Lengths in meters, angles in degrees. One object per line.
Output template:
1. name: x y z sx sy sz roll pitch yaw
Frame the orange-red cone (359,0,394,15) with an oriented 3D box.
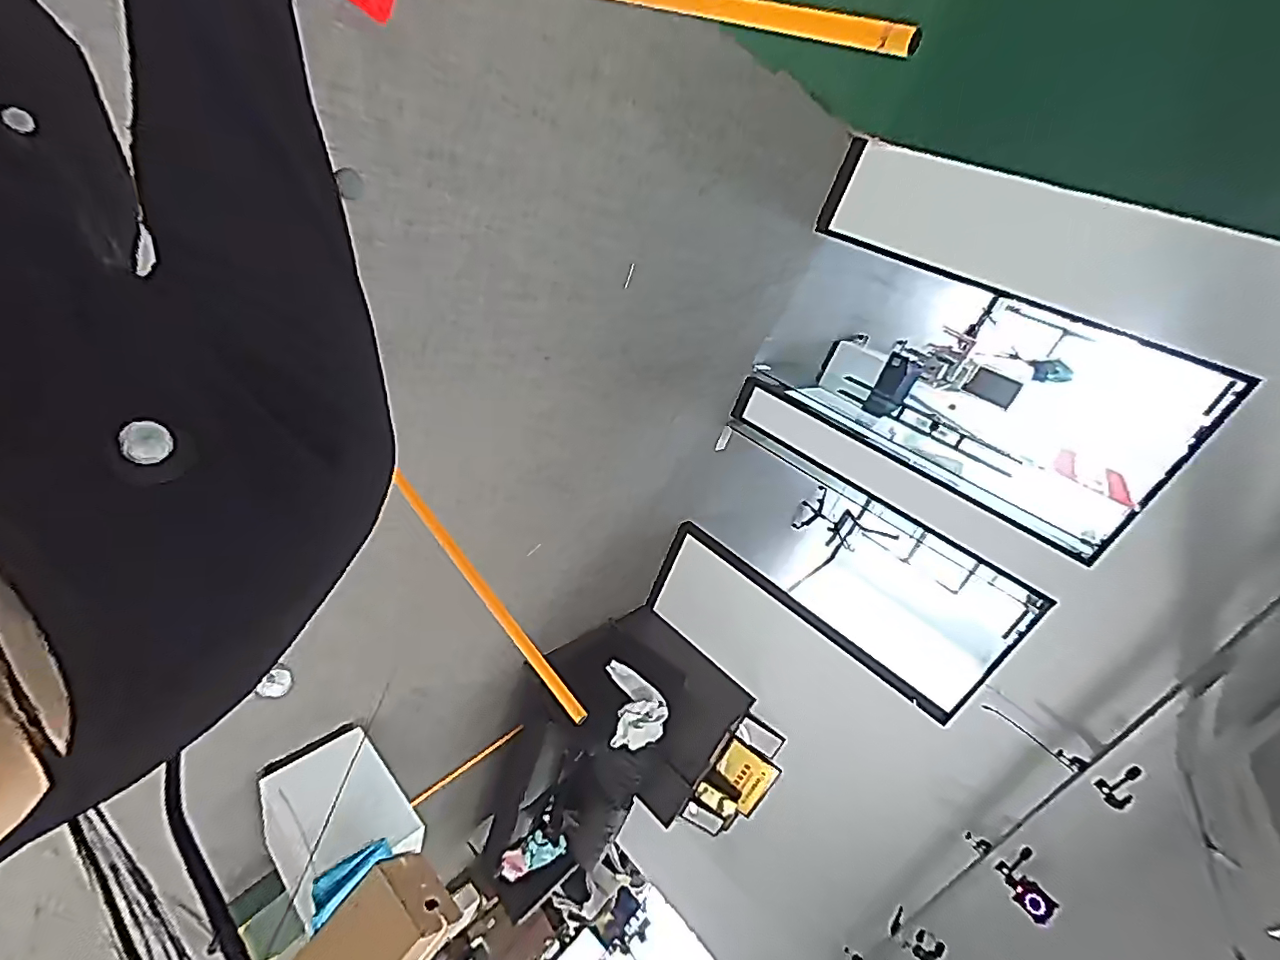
1. orange-red cone: -0.451 -1.008 1.009 0.198 0.360 0.199 2 121 -57
